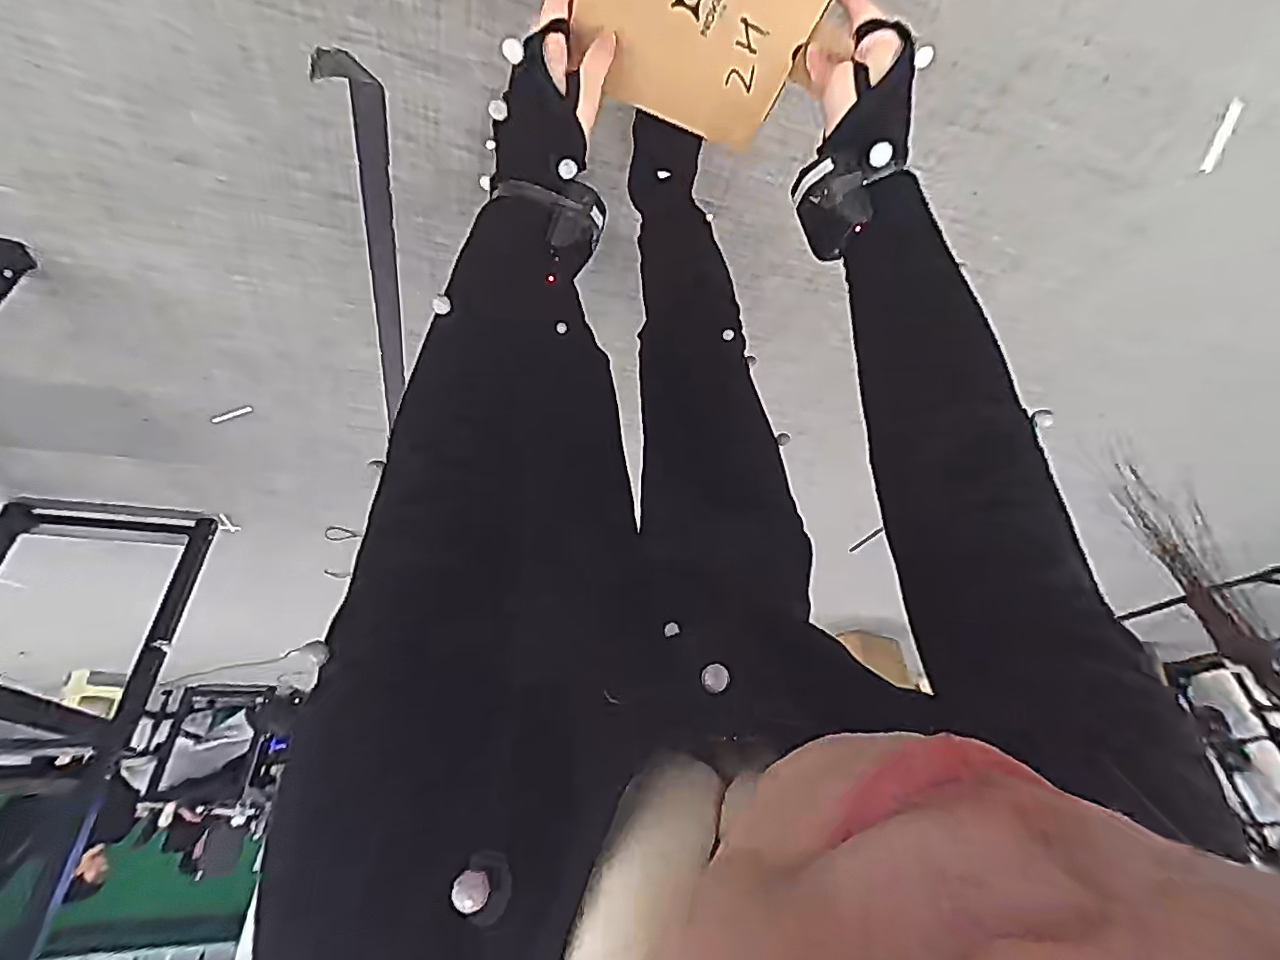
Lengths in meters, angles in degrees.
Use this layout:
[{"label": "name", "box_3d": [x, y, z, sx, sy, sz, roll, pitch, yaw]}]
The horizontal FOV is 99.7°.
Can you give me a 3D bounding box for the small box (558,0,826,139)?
[{"label": "small box", "box_3d": [0.049, -0.421, 0.422, 0.179, 0.176, 0.168, 13, 150, -17]}]
